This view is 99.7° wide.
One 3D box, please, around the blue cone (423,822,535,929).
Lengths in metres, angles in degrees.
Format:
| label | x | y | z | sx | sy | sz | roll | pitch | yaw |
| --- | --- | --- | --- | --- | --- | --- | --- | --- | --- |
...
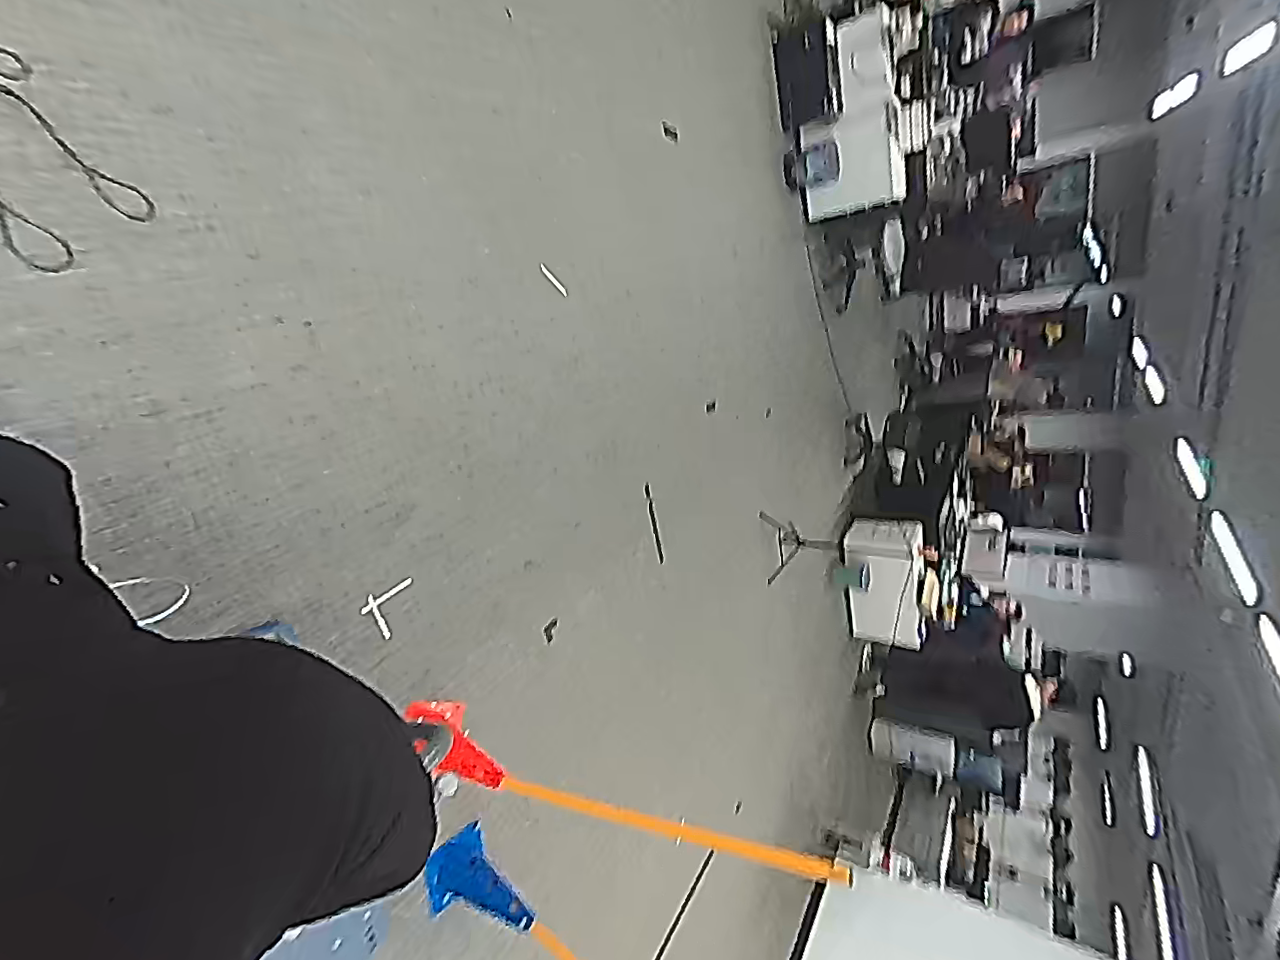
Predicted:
| label | x | y | z | sx | sy | sz | roll | pitch | yaw |
| --- | --- | --- | --- | --- | --- | --- | --- | --- | --- |
| blue cone | -0.441 | 1.192 | 1.566 | 0.193 | 0.380 | 0.192 | -15 | 103 | -52 |

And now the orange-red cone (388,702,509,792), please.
| label | x | y | z | sx | sy | sz | roll | pitch | yaw |
| --- | --- | --- | --- | --- | --- | --- | --- | --- | --- |
| orange-red cone | -0.482 | 0.762 | 1.465 | 0.198 | 0.360 | 0.199 | 33 | 67 | -48 |
